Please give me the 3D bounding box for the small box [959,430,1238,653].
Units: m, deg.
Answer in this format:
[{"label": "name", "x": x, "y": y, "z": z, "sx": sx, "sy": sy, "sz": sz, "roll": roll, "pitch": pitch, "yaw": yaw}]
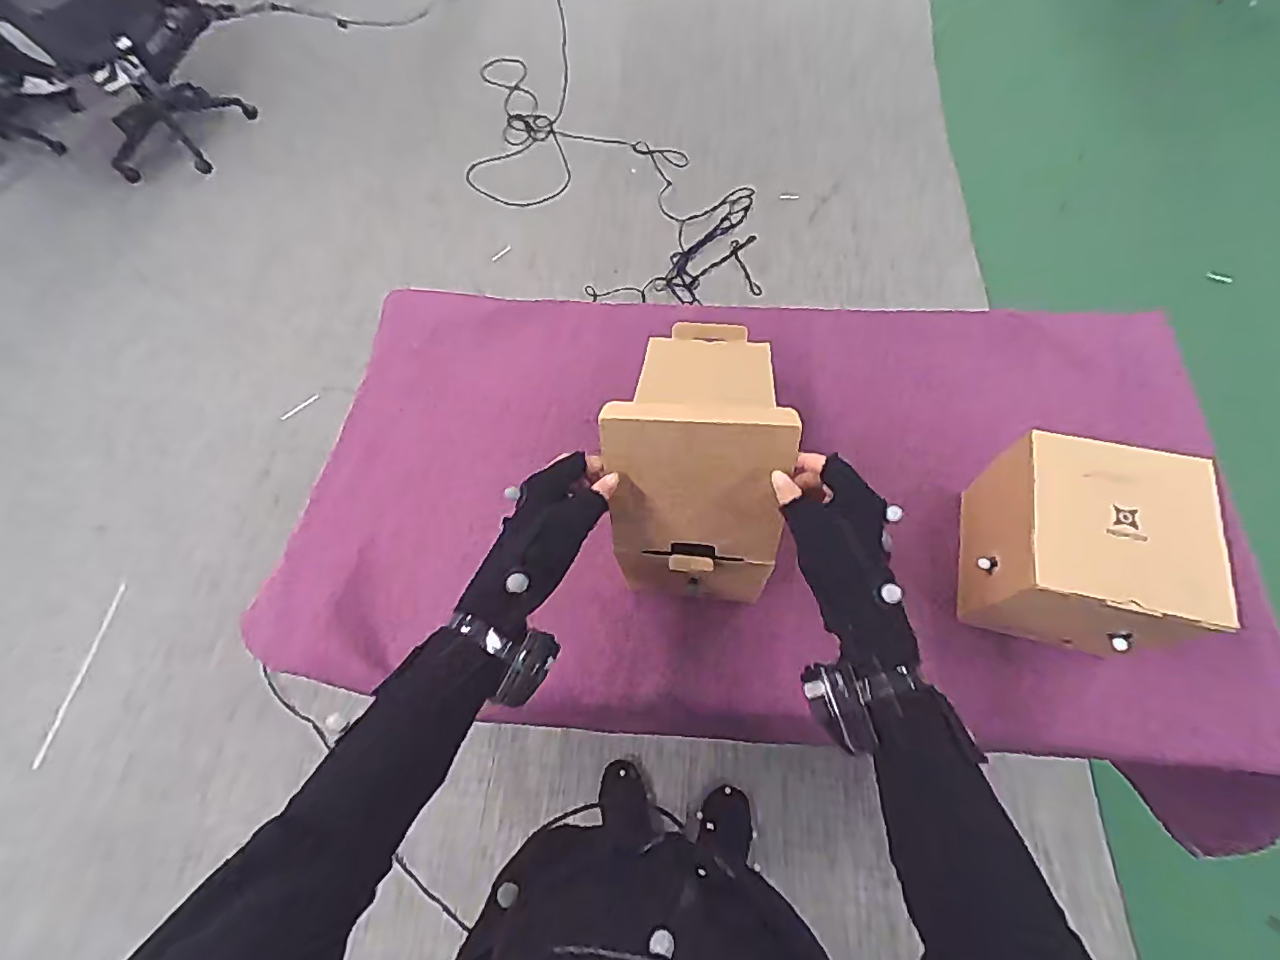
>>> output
[{"label": "small box", "x": 0.471, "y": 0.075, "z": 0.587, "sx": 0.168, "sy": 0.176, "sz": 0.179, "roll": 13, "pitch": 66, "yaw": 12}]
